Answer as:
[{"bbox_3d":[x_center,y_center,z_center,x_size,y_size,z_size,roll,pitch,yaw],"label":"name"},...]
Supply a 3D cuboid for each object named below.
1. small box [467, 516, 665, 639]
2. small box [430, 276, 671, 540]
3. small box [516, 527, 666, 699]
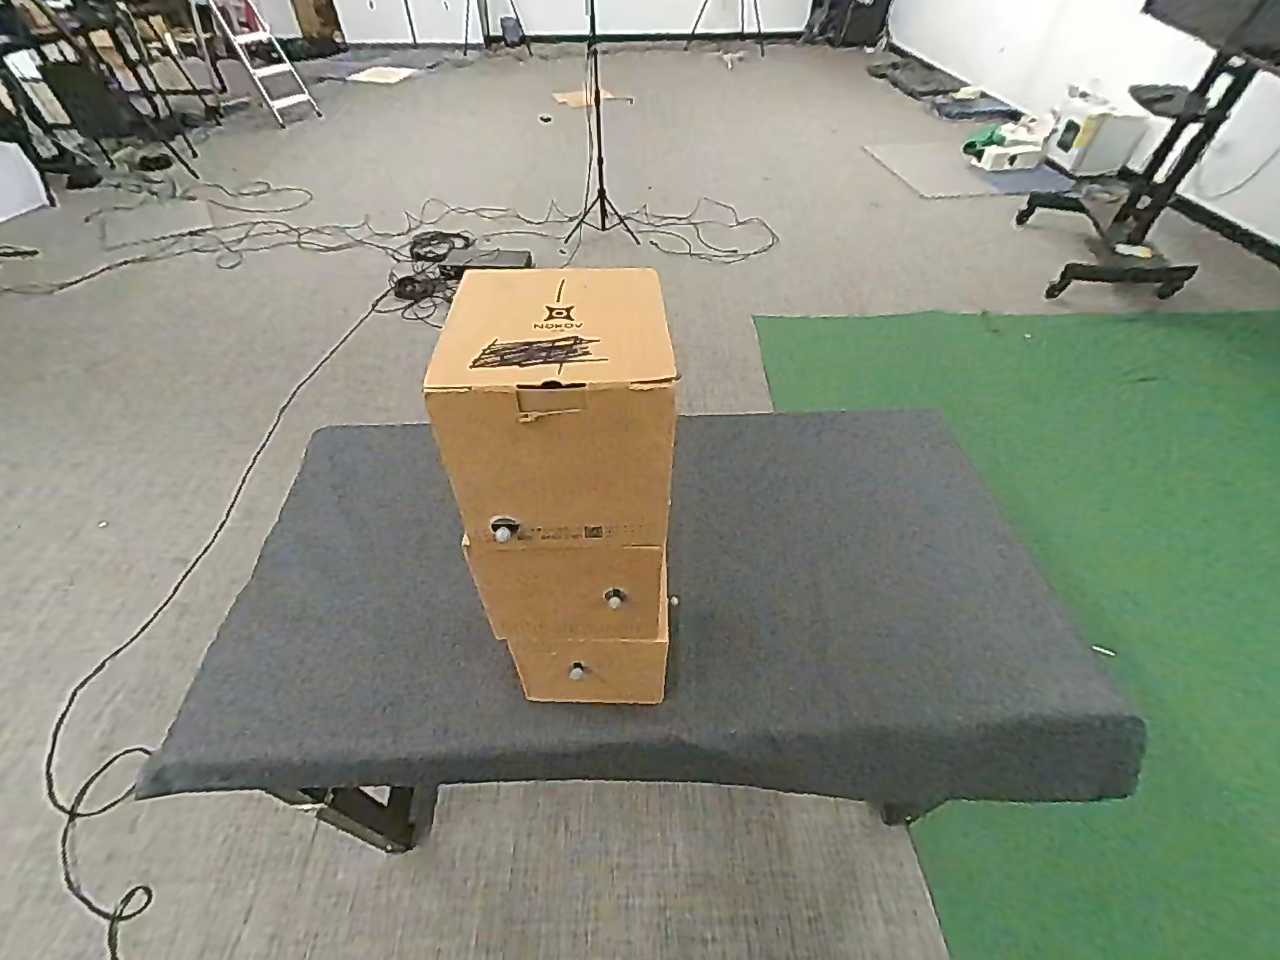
[{"bbox_3d":[-0.067,0.059,0.587,0.179,0.176,0.168,-1,45,-1],"label":"small box"},{"bbox_3d":[-0.062,-0.061,0.473,0.168,0.176,0.179,-1,44,-3],"label":"small box"},{"bbox_3d":[-0.056,0.171,0.703,0.179,0.176,0.168,1,46,1],"label":"small box"}]
